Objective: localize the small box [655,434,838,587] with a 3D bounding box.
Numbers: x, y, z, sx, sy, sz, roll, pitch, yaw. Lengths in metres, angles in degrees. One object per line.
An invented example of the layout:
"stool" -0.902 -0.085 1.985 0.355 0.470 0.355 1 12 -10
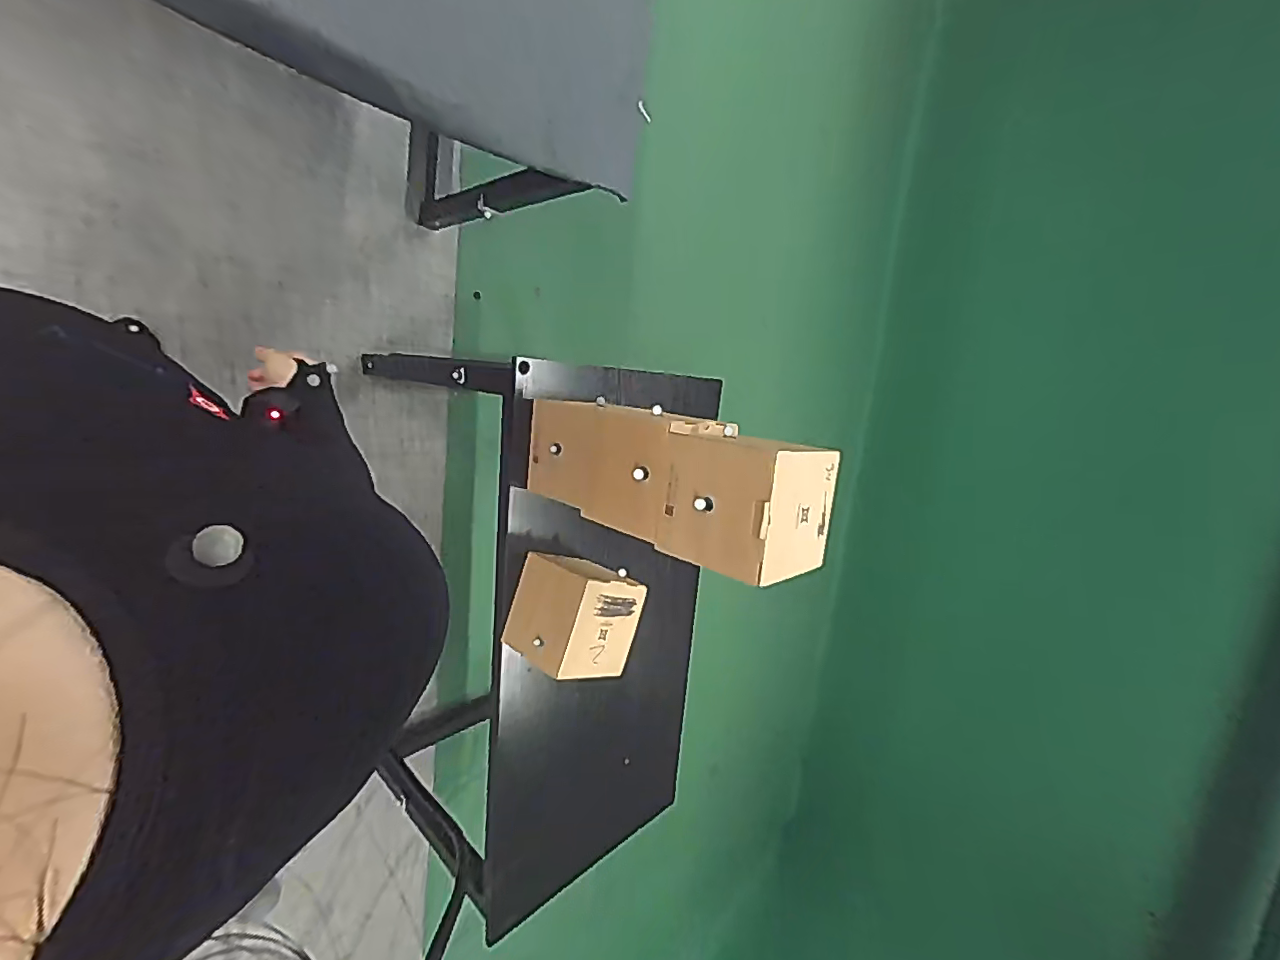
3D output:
"small box" 0.140 0.031 0.732 0.179 0.176 0.168 -2 102 -46

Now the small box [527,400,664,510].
"small box" -0.082 -0.049 0.959 0.179 0.176 0.168 -5 106 -47

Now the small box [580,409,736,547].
"small box" 0.023 -0.011 0.840 0.168 0.176 0.179 -4 104 -46
